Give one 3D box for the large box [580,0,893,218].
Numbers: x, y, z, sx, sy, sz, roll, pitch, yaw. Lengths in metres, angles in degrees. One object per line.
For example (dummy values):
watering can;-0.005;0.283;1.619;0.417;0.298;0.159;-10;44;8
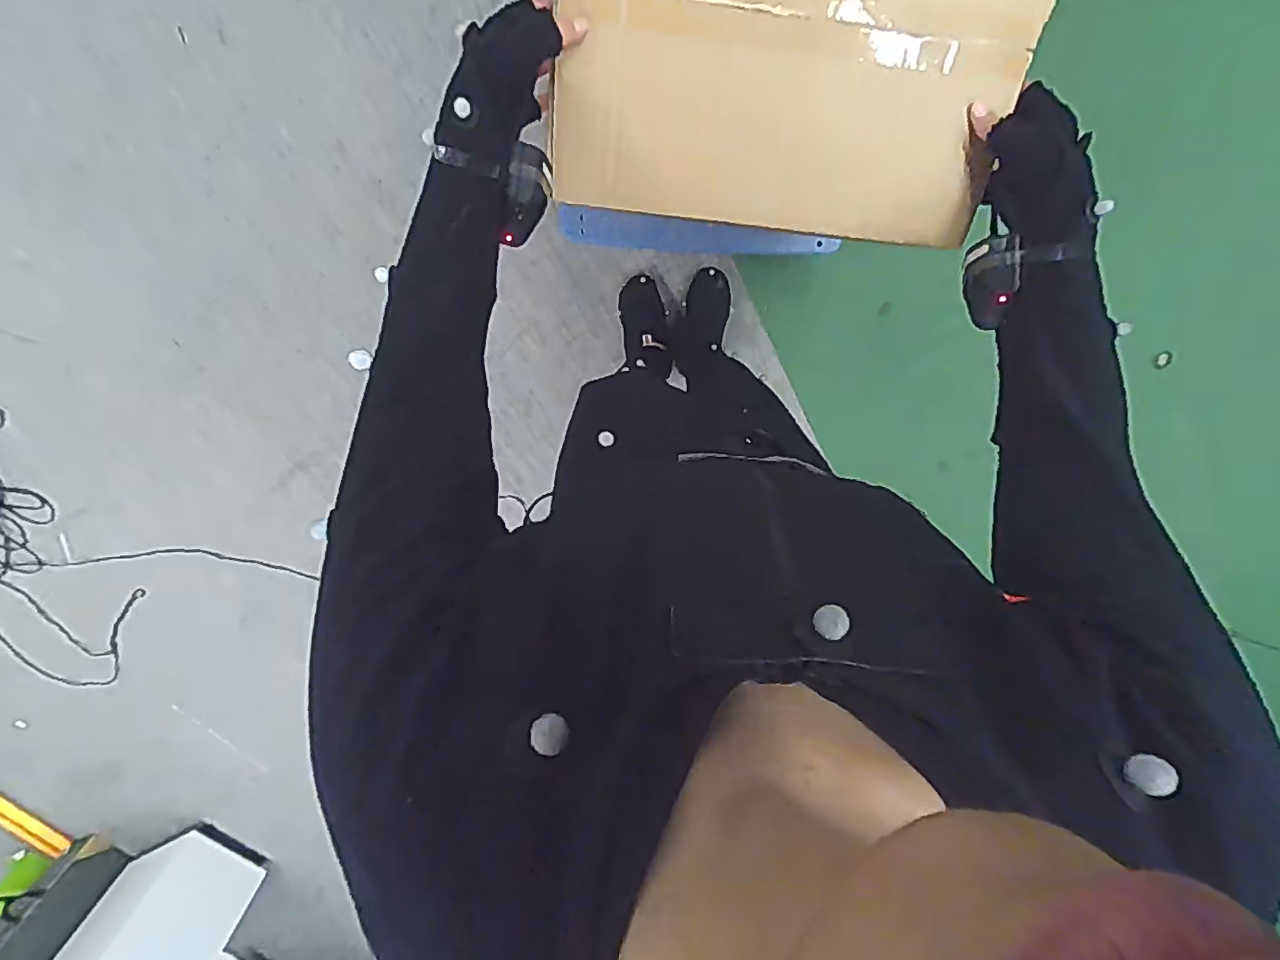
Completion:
large box;0.128;-0.607;0.865;0.408;0.320;0.320;5;116;0
